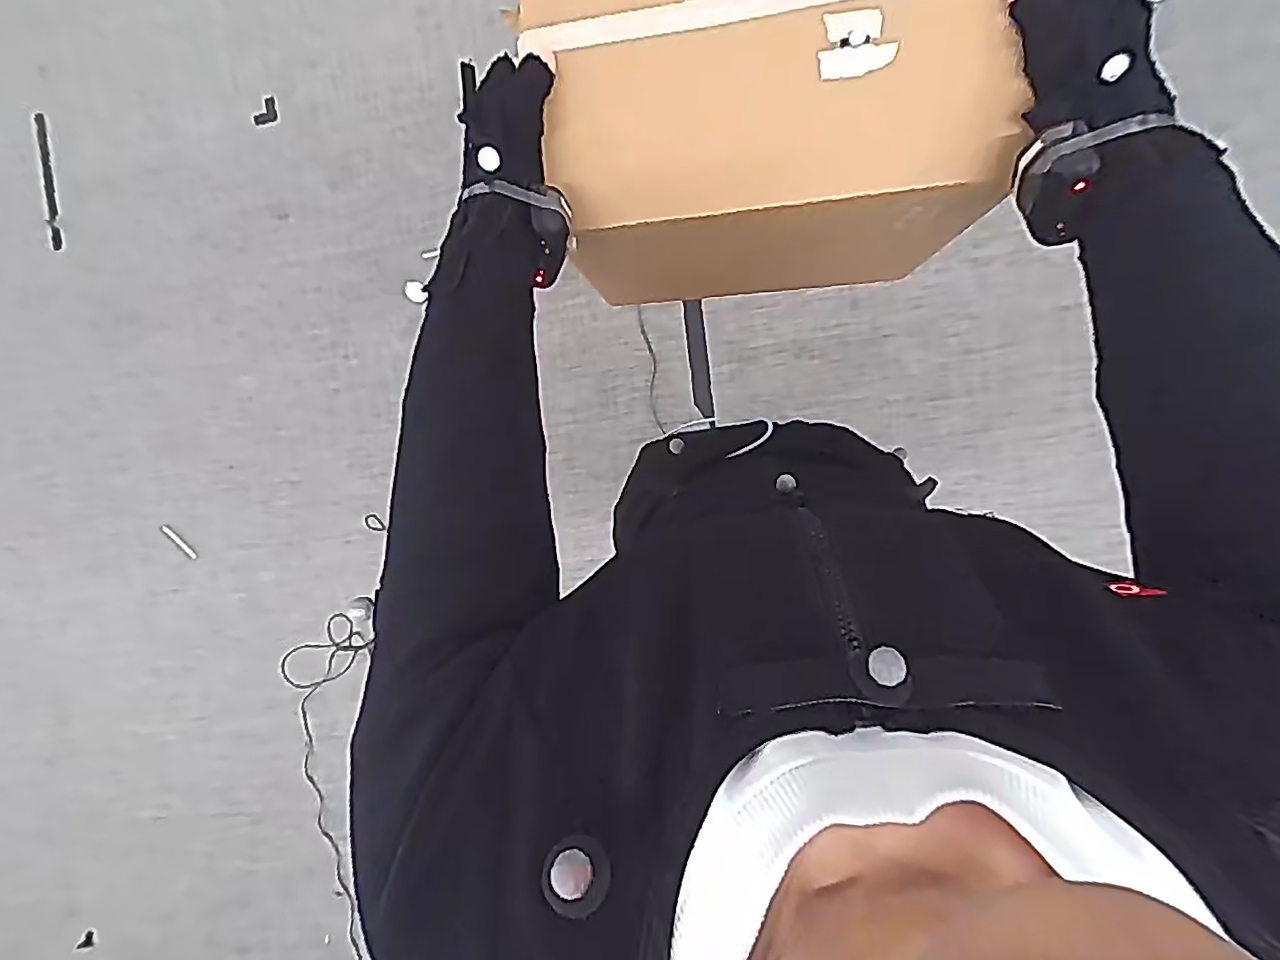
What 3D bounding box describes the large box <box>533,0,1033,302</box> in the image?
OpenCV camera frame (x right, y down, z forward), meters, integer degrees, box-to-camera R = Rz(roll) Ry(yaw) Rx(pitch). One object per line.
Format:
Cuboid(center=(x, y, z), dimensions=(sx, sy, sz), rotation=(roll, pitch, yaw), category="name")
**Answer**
Cuboid(center=(0.123, -0.405, 0.591), dimensions=(0.408, 0.320, 0.320), rotation=(-4, 96, 7), category="large box")
